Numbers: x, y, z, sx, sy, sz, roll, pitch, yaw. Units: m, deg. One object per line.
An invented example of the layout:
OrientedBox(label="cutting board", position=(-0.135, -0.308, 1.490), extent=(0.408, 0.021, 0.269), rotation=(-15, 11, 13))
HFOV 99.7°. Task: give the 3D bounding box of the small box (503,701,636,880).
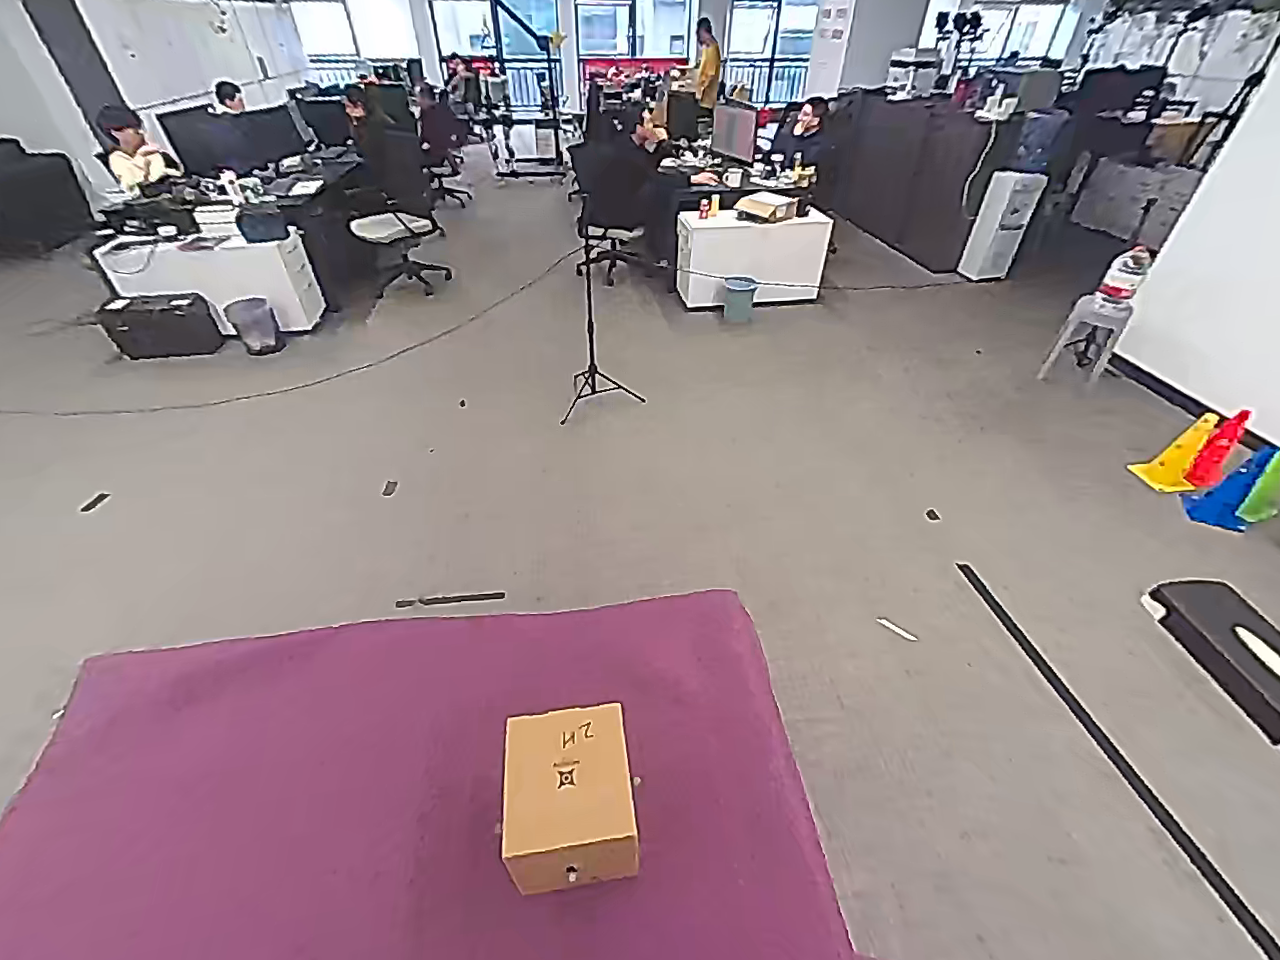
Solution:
OrientedBox(label="small box", position=(-0.097, 0.449, 0.777), extent=(0.168, 0.176, 0.179), rotation=(-5, 41, -6))
